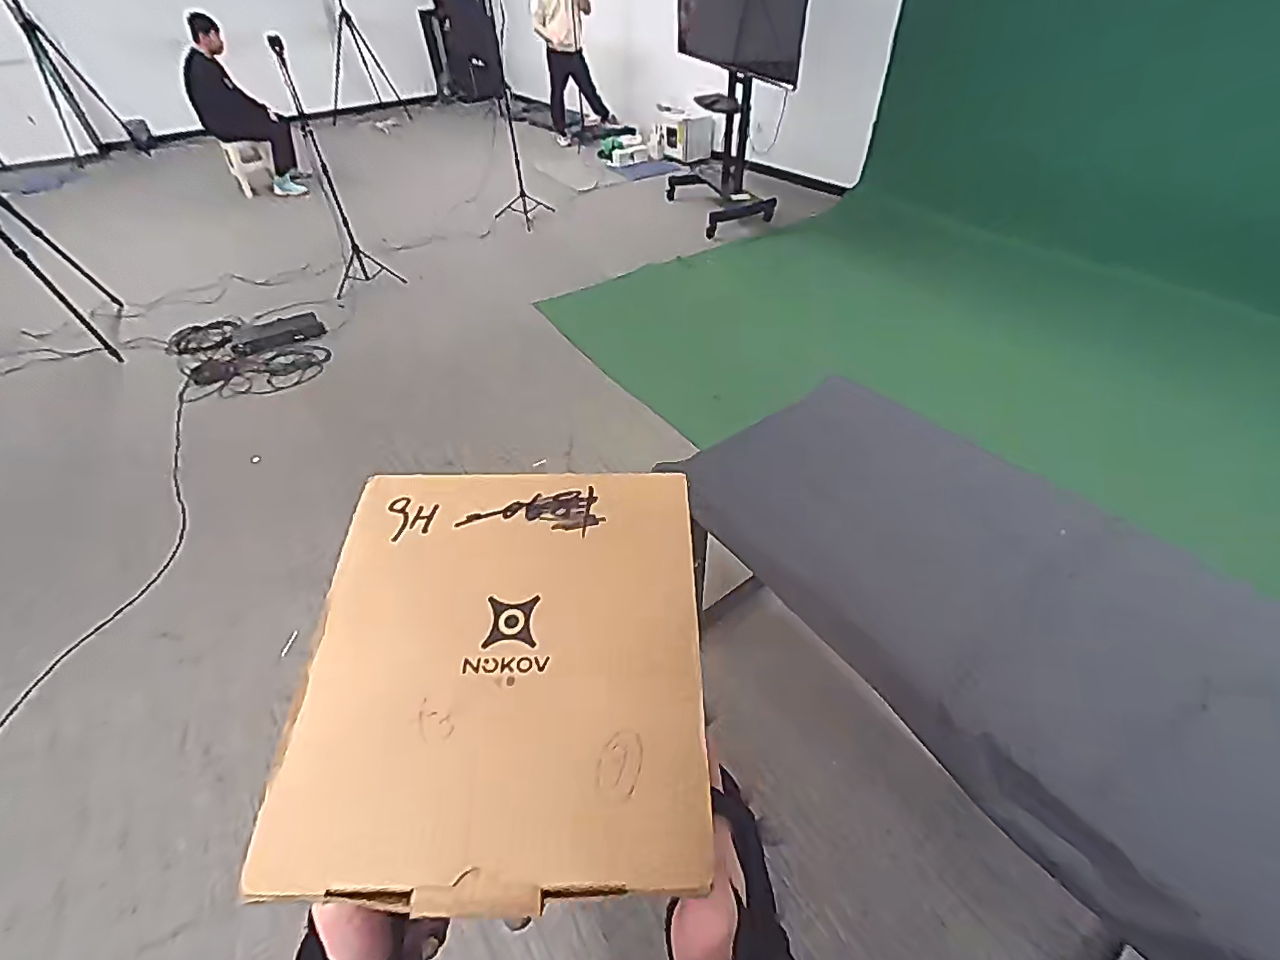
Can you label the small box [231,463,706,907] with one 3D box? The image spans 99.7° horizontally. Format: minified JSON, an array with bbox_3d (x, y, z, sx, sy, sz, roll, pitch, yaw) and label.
[{"bbox_3d":[-0.061,0.109,0.294,0.168,0.176,0.179,1,58,-3],"label":"small box"}]
